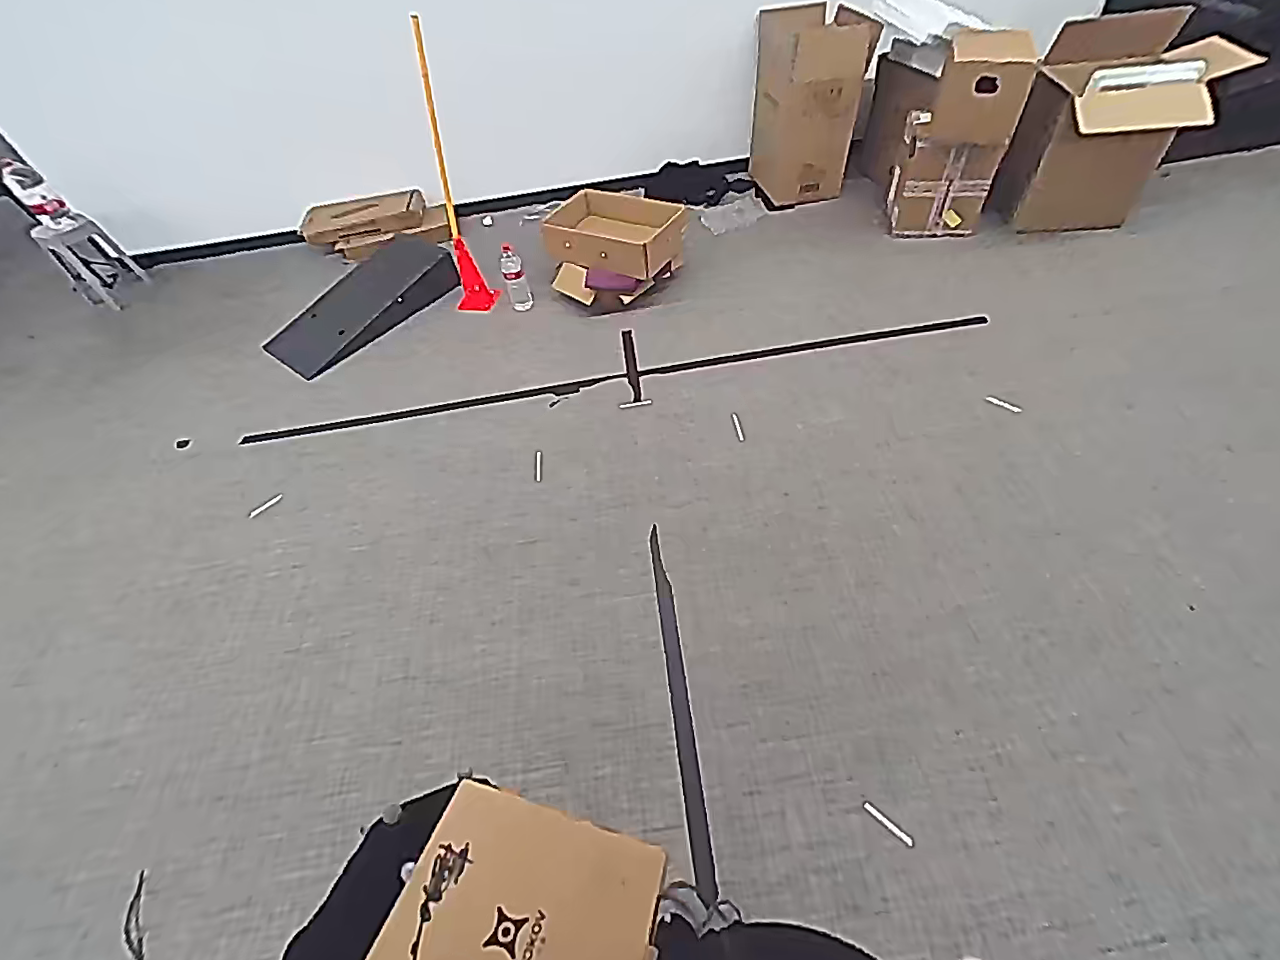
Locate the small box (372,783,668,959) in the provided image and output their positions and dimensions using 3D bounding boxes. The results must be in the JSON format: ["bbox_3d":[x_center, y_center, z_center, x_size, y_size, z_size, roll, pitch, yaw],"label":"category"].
[{"bbox_3d":[-0.092,0.376,0.412,0.179,0.176,0.168,15,35,8],"label":"small box"}]
